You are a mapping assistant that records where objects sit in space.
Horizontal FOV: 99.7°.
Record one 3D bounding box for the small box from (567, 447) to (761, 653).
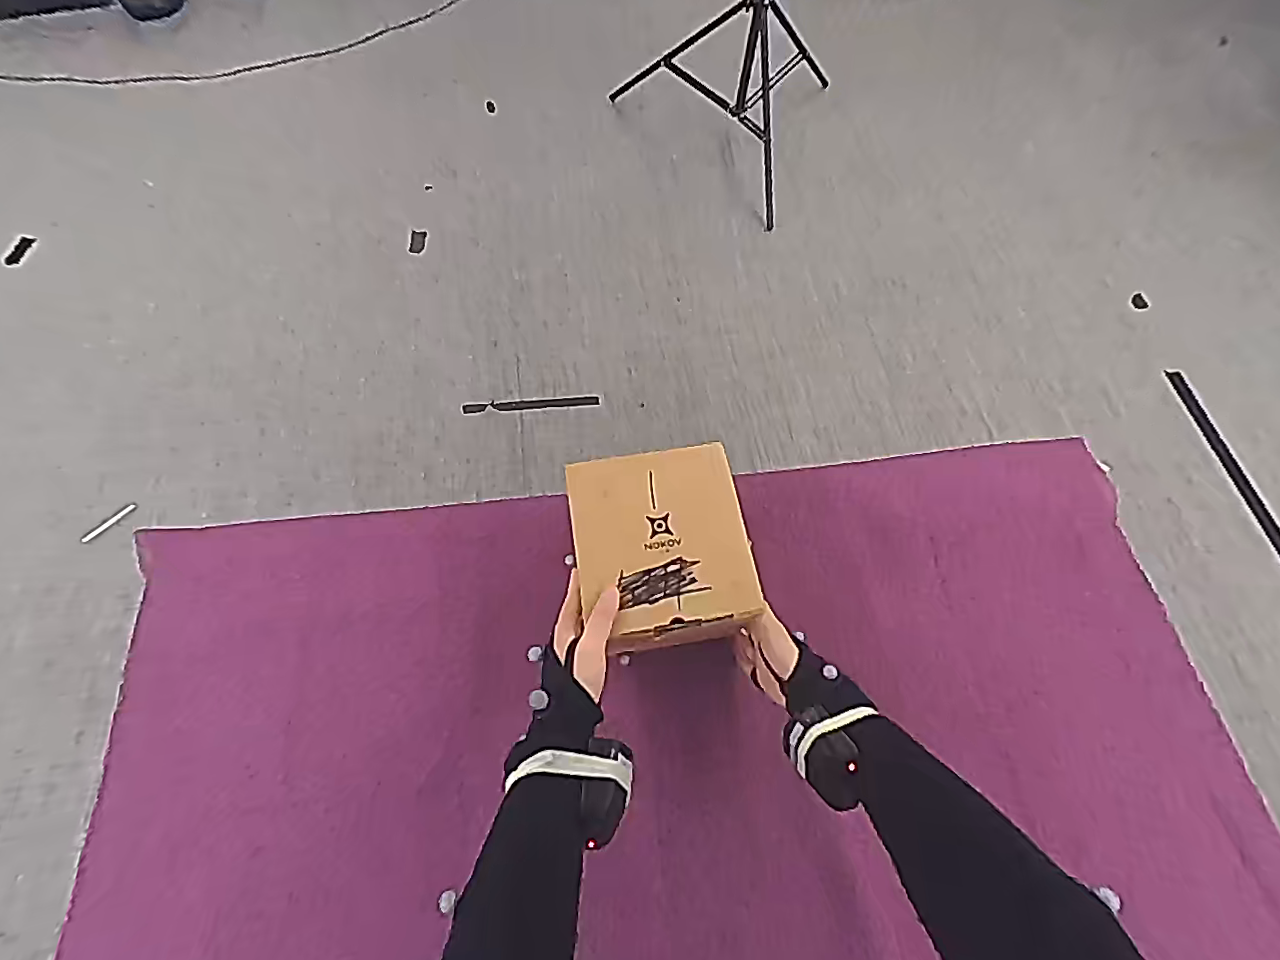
[{"bbox_3d":[0.018,0.086,0.591,0.168,0.176,0.179,-8,67,-5],"label":"small box"}]
